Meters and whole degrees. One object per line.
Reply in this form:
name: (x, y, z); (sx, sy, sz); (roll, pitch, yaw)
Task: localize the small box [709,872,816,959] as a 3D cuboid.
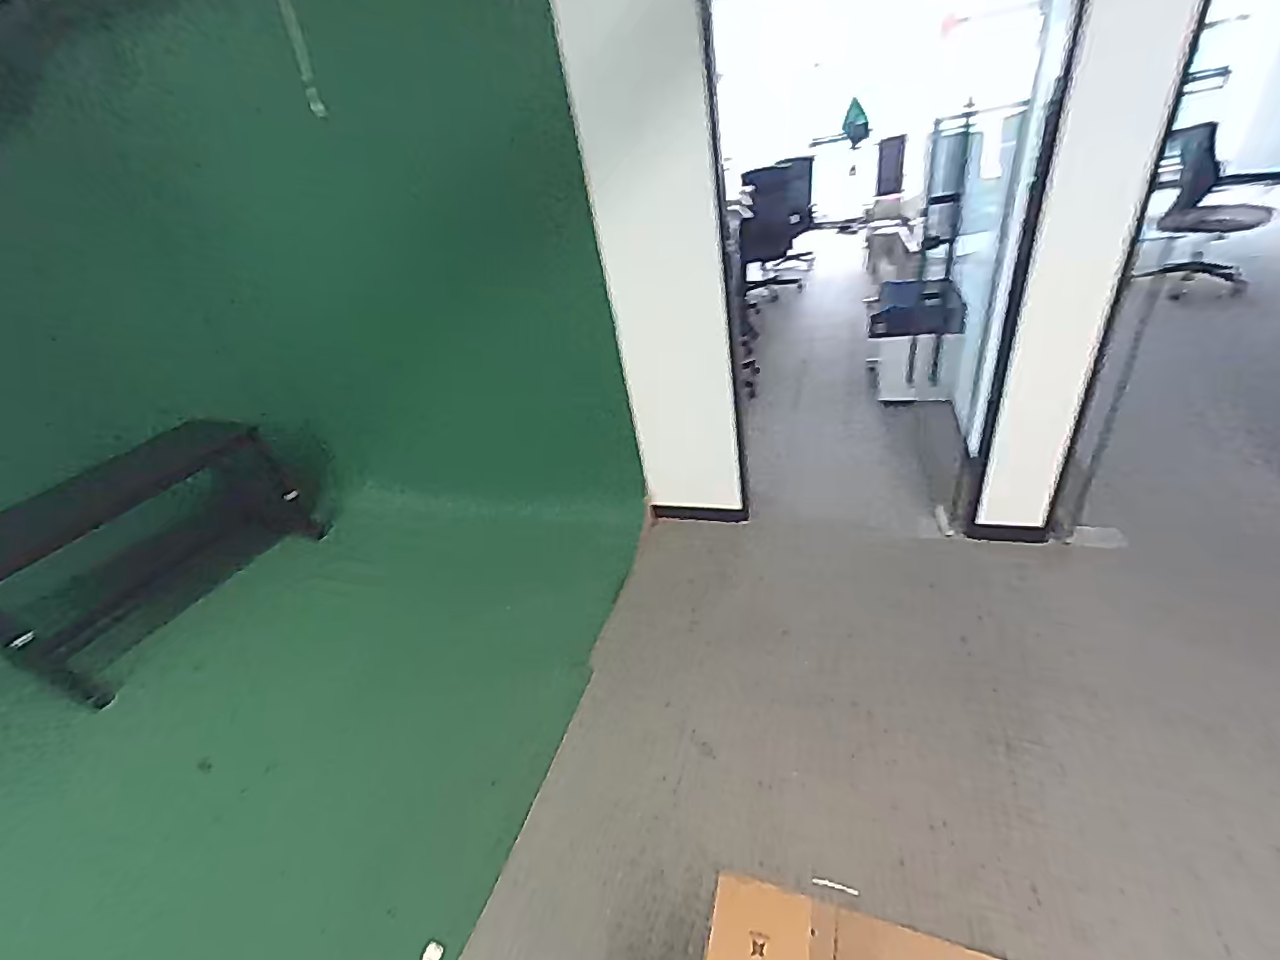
small box: (0.218, 0.840, 0.946); (0.168, 0.176, 0.179); (1, 34, 20)
